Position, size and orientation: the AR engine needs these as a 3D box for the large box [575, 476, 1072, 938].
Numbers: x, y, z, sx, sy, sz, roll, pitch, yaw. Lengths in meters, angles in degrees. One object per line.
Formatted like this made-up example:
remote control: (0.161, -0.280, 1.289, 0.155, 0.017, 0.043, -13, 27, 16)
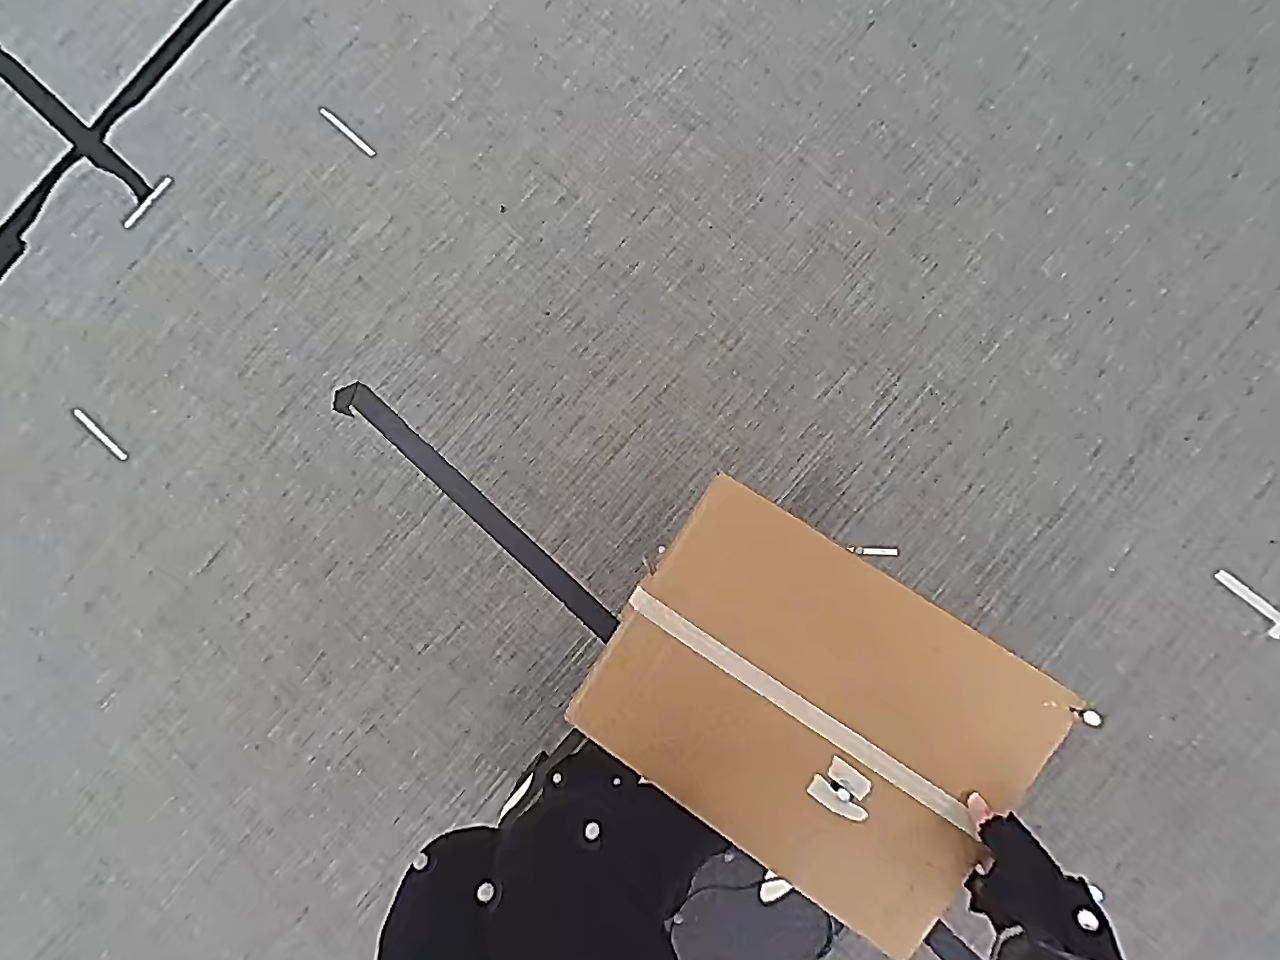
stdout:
large box: (0.192, 0.227, 0.699, 0.408, 0.320, 0.320, 32, 94, 9)
